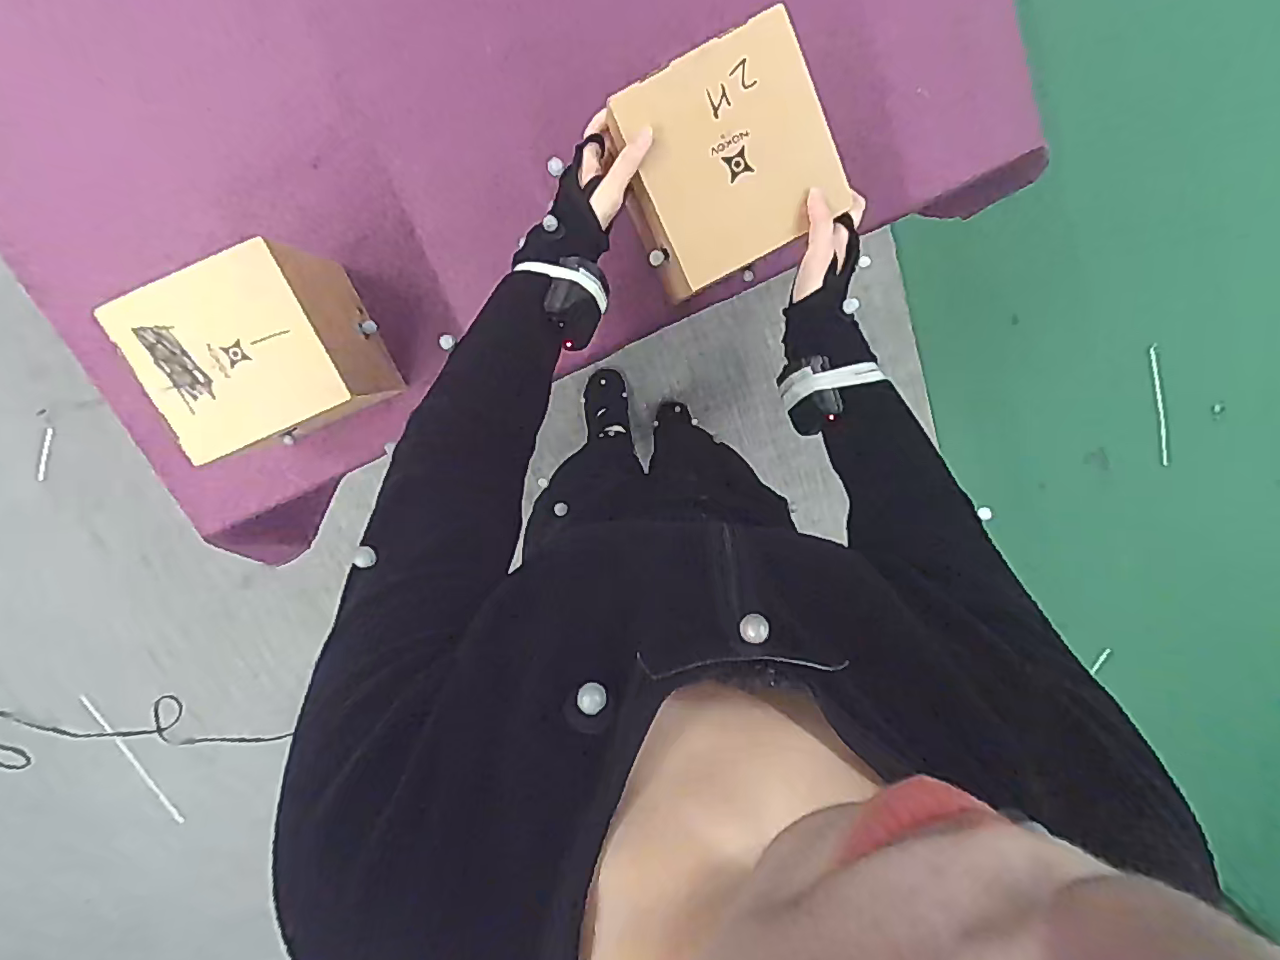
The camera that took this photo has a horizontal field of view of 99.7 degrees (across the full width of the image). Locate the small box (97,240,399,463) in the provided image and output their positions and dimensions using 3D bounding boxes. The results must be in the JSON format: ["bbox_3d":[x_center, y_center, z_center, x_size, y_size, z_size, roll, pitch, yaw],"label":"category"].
[{"bbox_3d":[-0.407,-0.136,0.600,0.179,0.176,0.168,-24,104,0],"label":"small box"}]
